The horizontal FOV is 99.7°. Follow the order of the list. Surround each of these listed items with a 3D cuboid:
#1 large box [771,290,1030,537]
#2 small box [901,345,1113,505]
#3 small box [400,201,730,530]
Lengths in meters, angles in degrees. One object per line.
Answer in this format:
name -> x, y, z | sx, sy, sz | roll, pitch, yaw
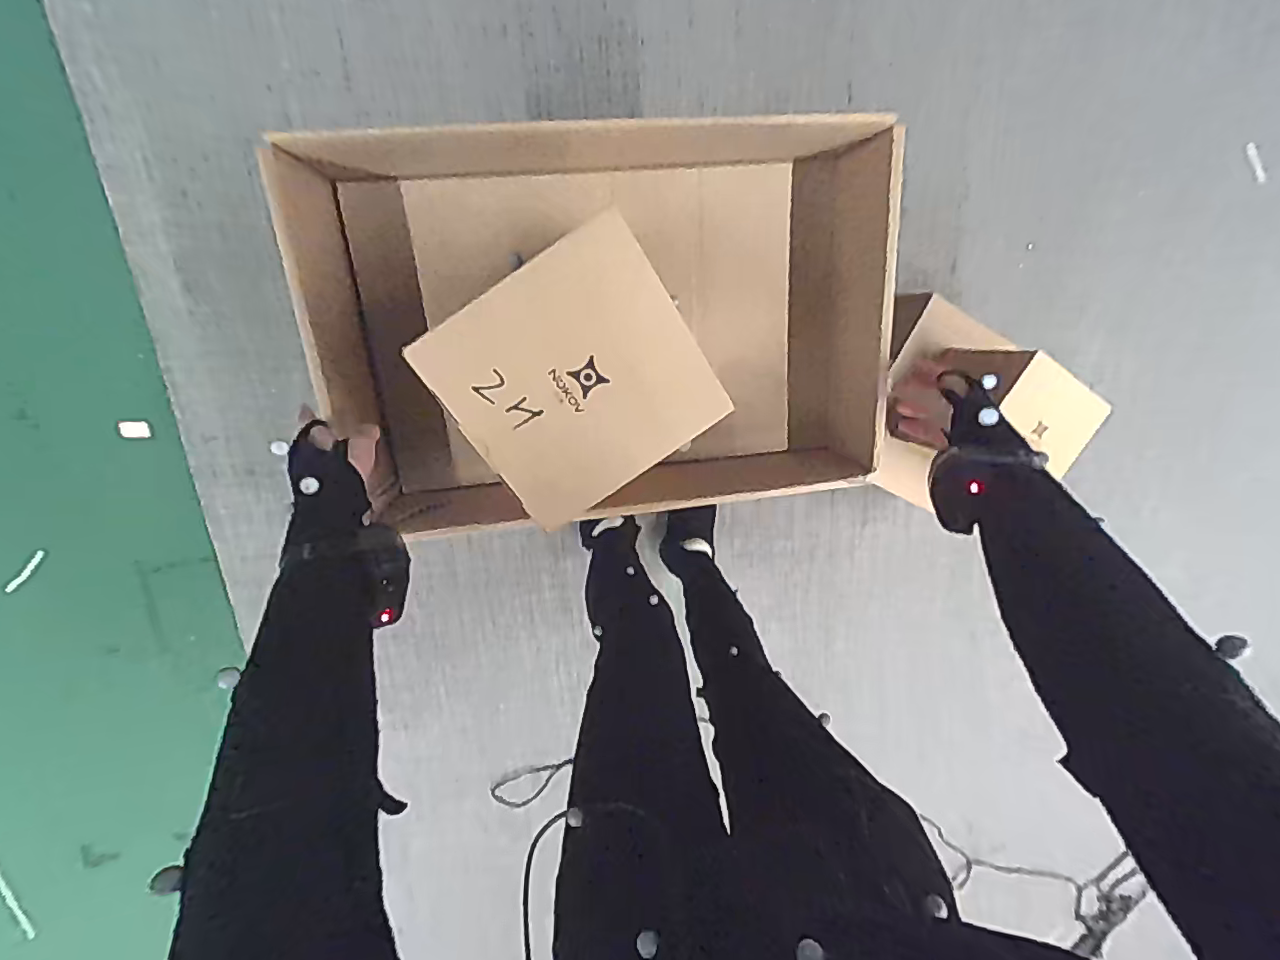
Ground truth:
large box -> 0.543, -0.138, 1.071 | 0.408, 0.320, 0.320 | 23, 102, -16
small box -> 0.544, -0.094, 0.828 | 0.168, 0.176, 0.179 | 28, 100, -16
small box -> -0.057, -0.095, 0.450 | 0.179, 0.176, 0.168 | -34, 108, 4
